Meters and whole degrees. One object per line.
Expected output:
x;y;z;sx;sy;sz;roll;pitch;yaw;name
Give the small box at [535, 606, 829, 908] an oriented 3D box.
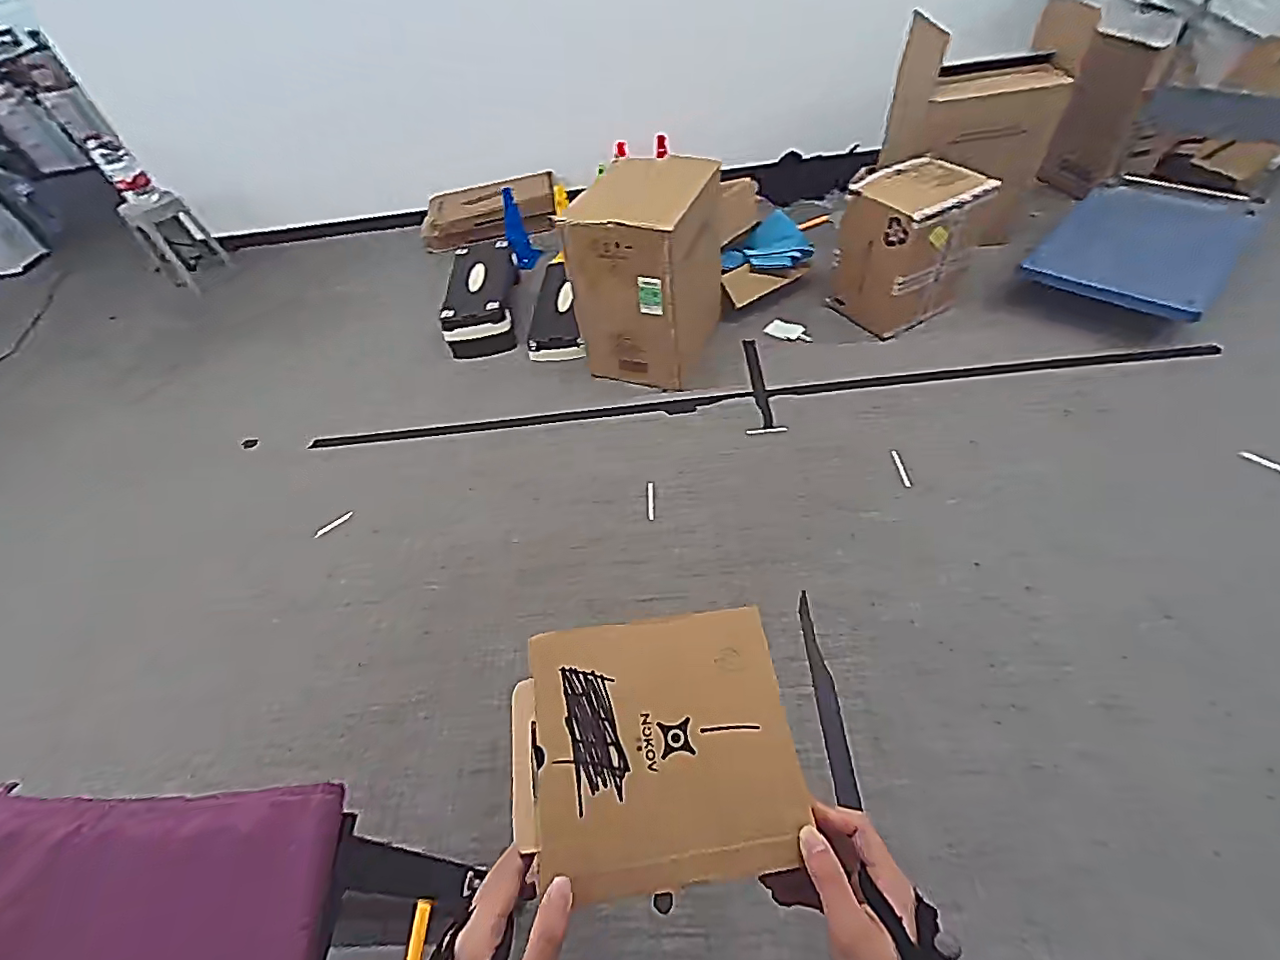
0.018;0.215;0.426;0.179;0.176;0.168;-6;58;-6;small box
